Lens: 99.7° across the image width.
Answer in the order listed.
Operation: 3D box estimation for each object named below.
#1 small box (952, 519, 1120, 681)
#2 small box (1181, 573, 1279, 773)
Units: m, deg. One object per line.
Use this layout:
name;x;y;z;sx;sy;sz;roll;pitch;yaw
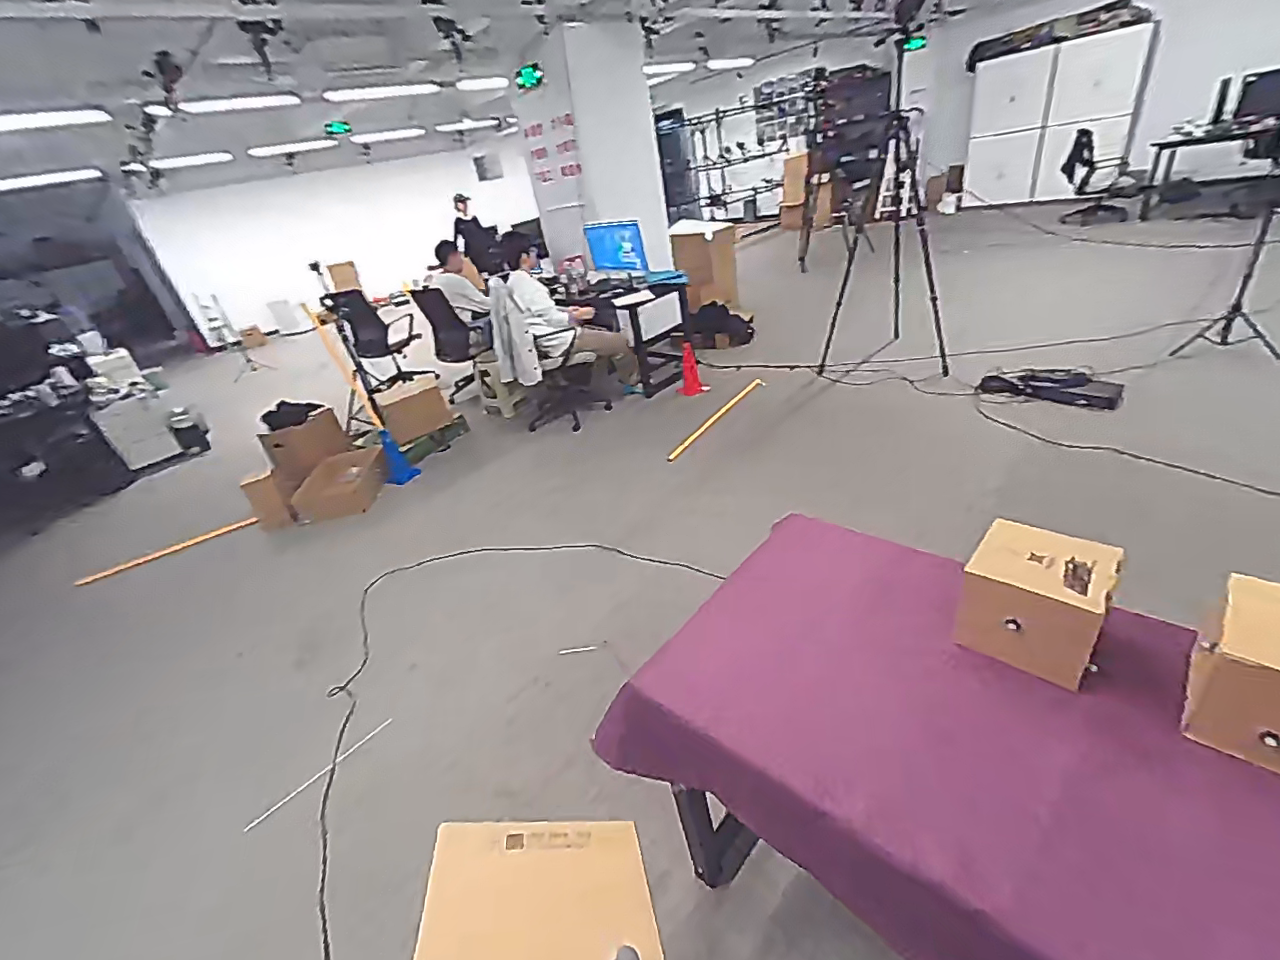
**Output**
small box;0.636;0.195;0.883;0.179;0.176;0.168;18;42;43
small box;0.841;0.259;0.699;0.168;0.176;0.179;17;42;41
